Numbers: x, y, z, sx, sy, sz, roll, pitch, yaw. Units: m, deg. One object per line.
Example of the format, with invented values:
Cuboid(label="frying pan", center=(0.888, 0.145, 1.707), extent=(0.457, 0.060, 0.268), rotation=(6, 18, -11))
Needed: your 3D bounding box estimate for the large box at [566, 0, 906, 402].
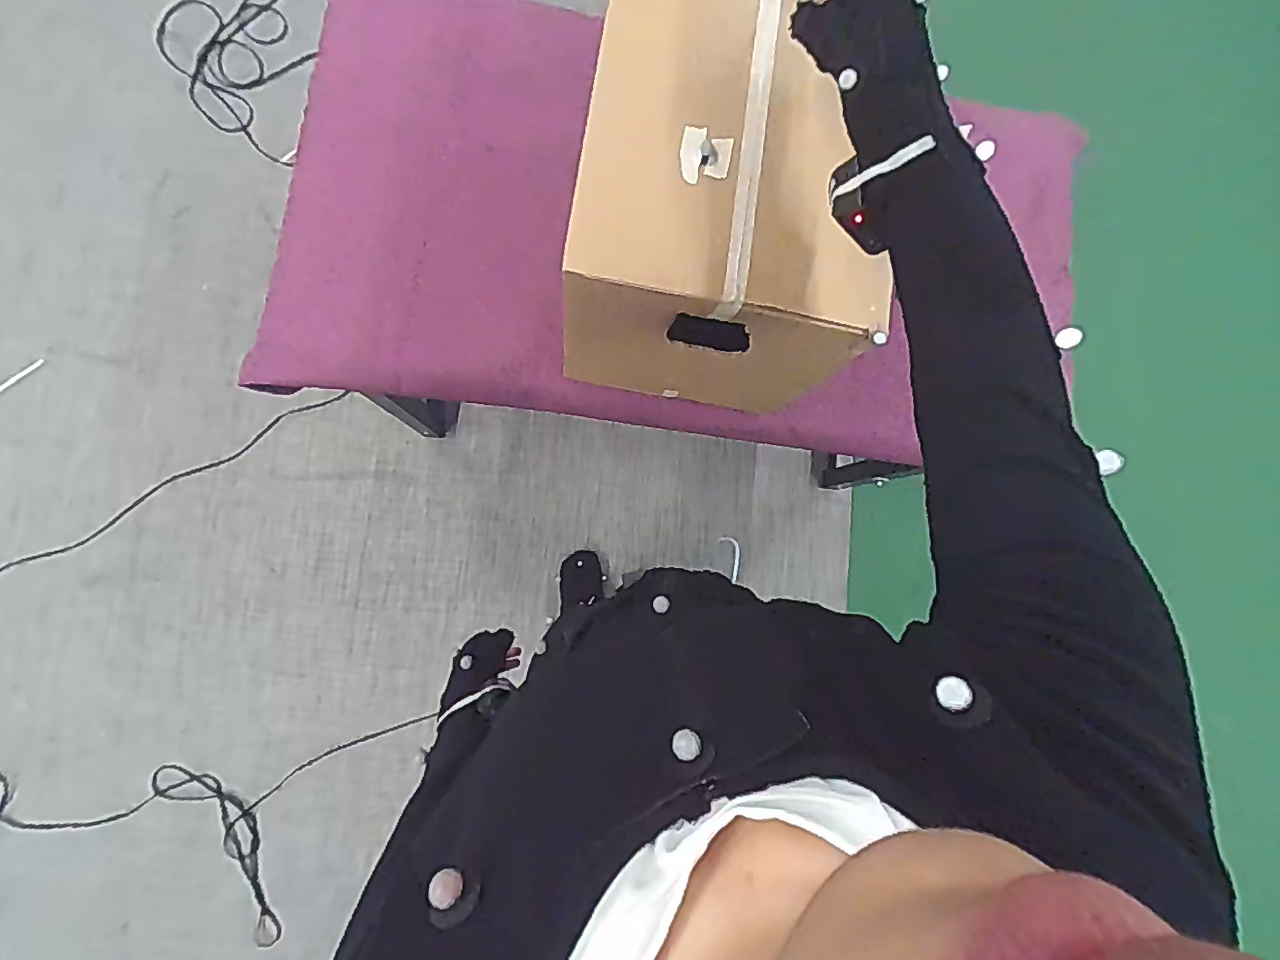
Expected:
Cuboid(label="large box", center=(0.088, -0.349, 0.681), extent=(0.320, 0.320, 0.408), rotation=(9, 83, -6))
